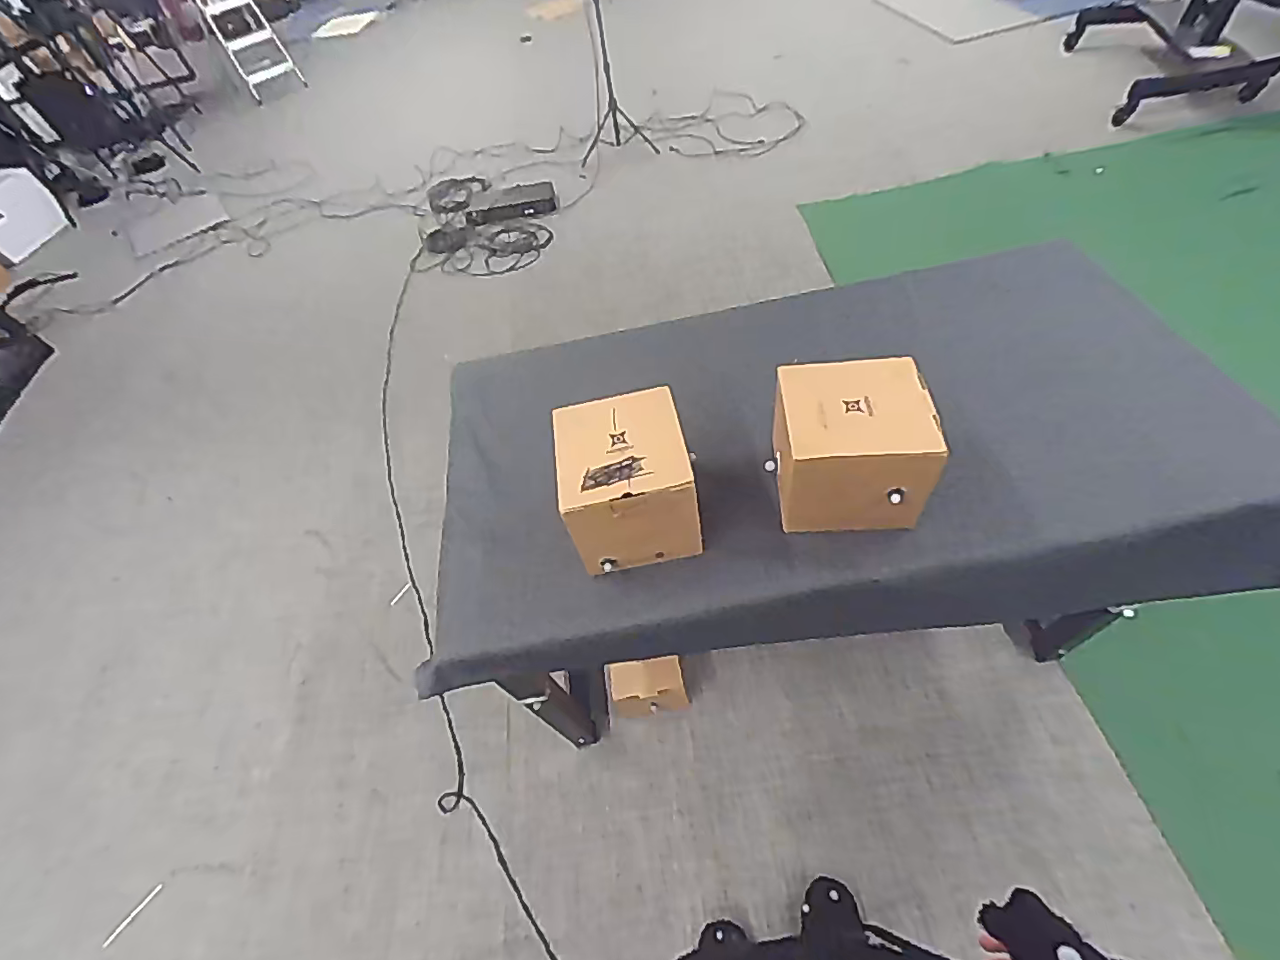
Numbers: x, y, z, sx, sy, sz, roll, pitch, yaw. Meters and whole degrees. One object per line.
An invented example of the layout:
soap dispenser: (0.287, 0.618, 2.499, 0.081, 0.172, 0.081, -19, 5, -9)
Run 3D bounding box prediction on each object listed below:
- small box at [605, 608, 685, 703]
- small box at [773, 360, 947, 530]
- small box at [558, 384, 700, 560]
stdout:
small box: (0.015, 0.443, 1.342, 0.168, 0.176, 0.179, -11, 54, 2)
small box: (0.284, -0.042, 0.742, 0.179, 0.176, 0.168, -3, 53, 8)
small box: (-0.012, -0.002, 0.757, 0.168, 0.176, 0.179, -10, 52, 1)
